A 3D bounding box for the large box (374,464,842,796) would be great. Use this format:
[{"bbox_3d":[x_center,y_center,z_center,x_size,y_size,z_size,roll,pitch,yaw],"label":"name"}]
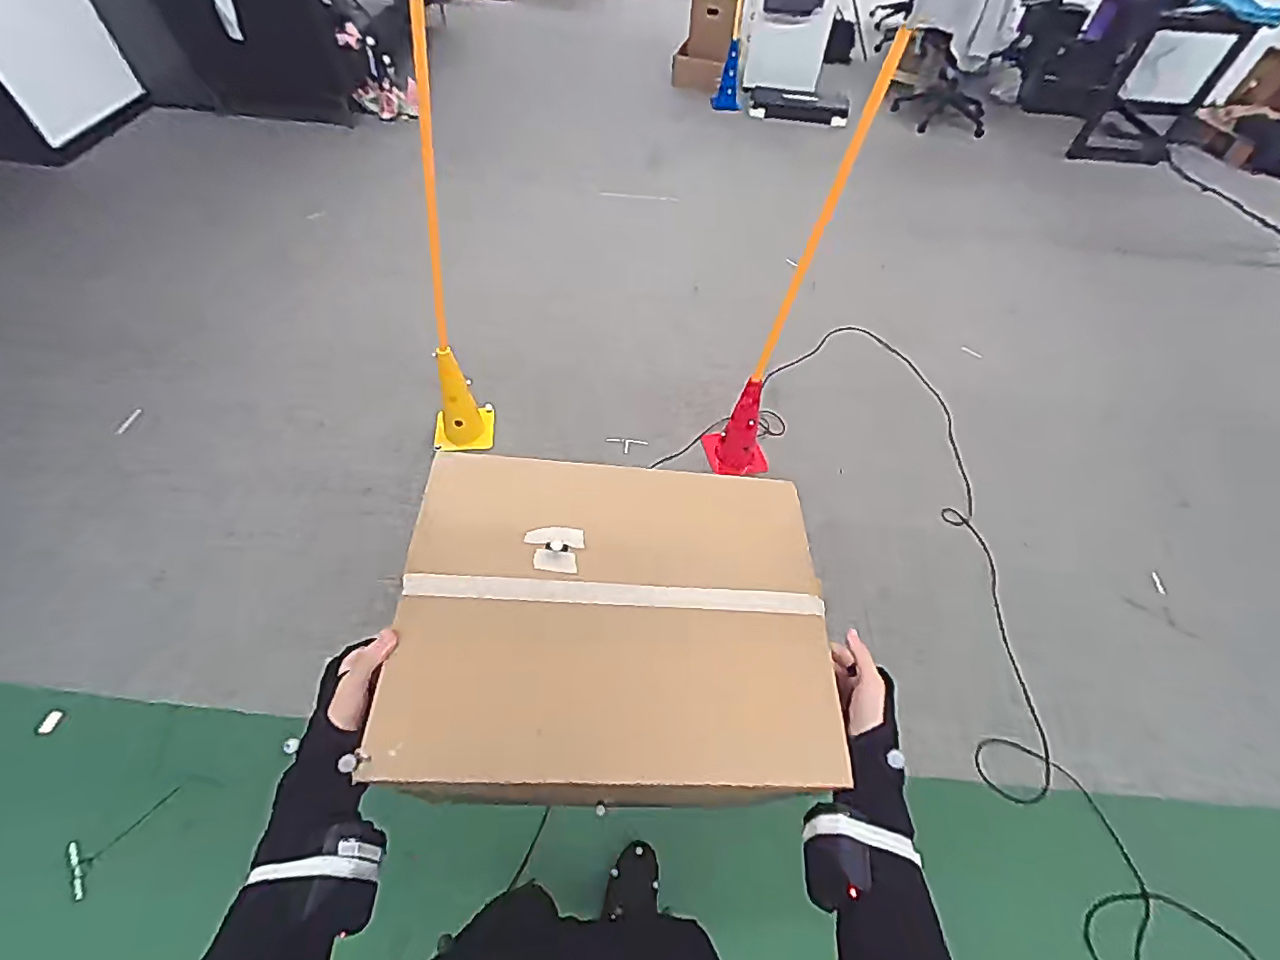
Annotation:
[{"bbox_3d":[-0.036,0.201,0.656,0.408,0.320,0.320,4,56,-6],"label":"large box"}]
